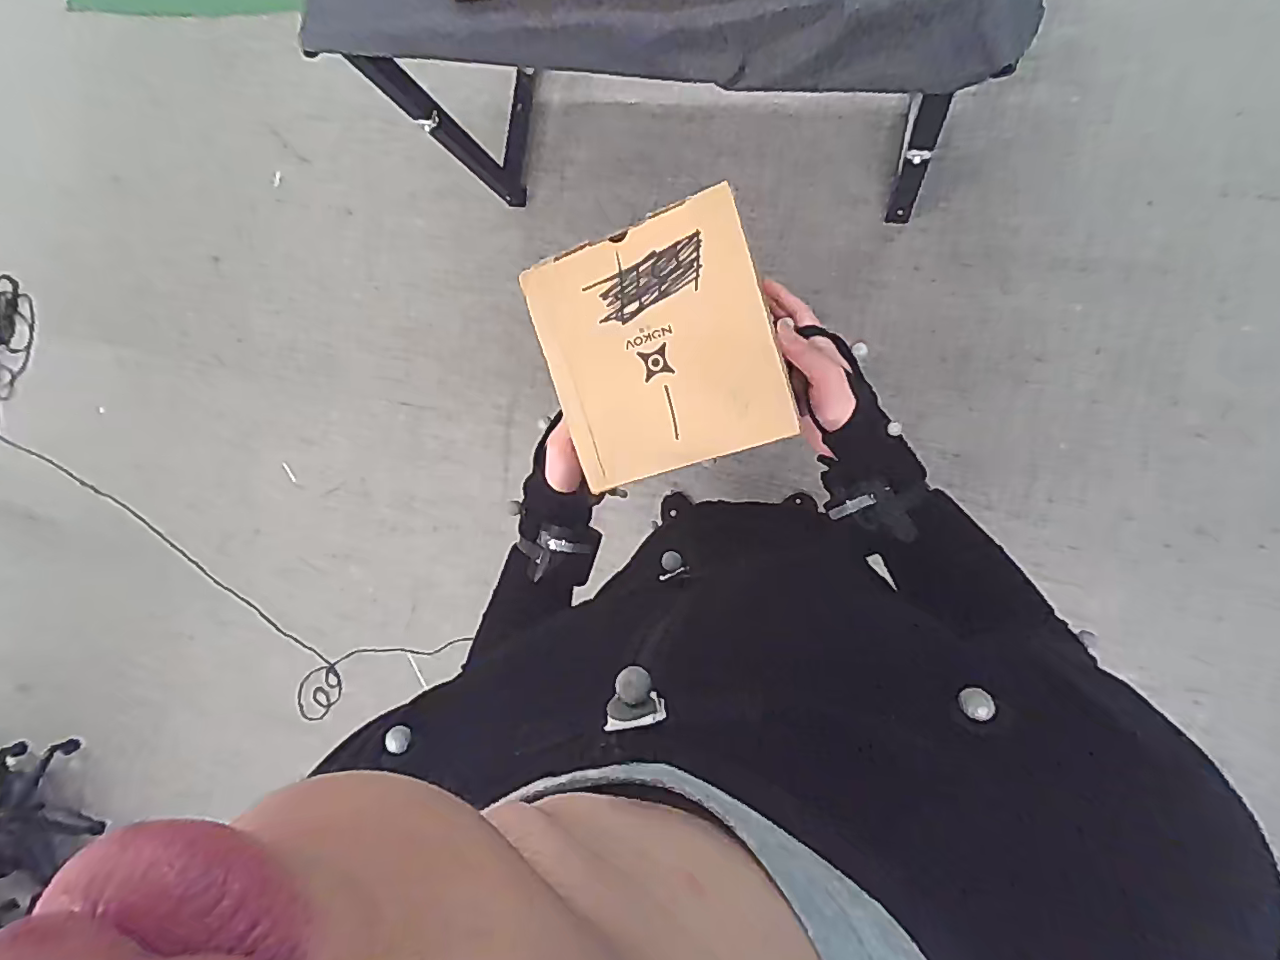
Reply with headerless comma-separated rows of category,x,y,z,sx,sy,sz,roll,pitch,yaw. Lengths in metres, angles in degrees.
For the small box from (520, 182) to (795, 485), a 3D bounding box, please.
small box,0.029,-0.110,0.463,0.168,0.176,0.179,-15,97,19
